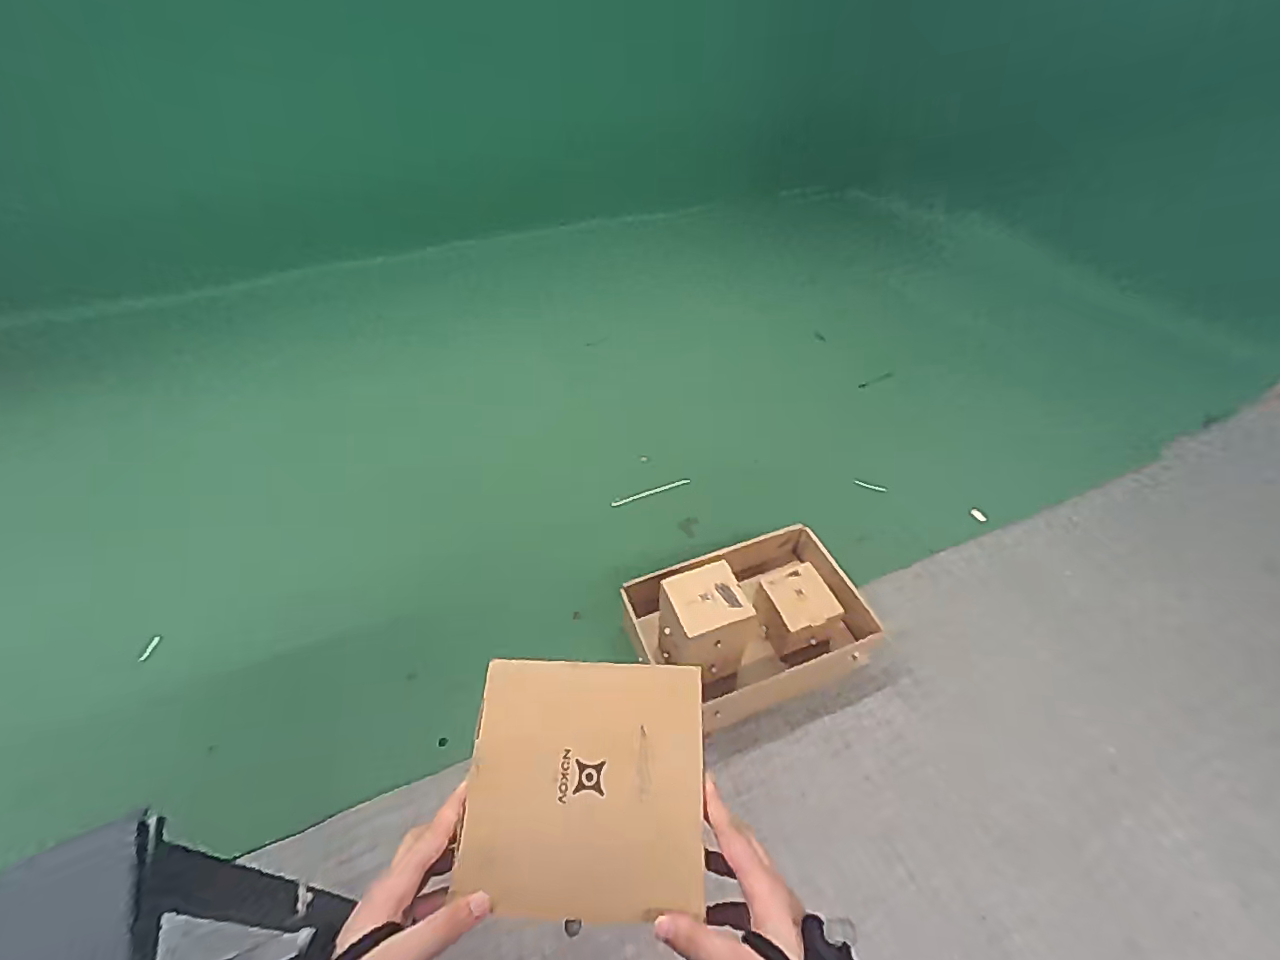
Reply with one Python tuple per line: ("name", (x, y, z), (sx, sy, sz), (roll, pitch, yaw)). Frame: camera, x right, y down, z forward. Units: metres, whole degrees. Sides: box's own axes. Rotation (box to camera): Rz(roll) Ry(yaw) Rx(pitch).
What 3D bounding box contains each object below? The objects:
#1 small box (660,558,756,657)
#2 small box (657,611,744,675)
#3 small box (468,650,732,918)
("small box", (0.158, 0.324, 1.325), (0.179, 0.176, 0.168), (-16, 48, -14))
("small box", (0.155, 0.435, 1.446), (0.179, 0.176, 0.168), (-16, 49, -16))
("small box", (-0.021, 0.250, 0.458), (0.179, 0.176, 0.168), (1, 59, 2))
